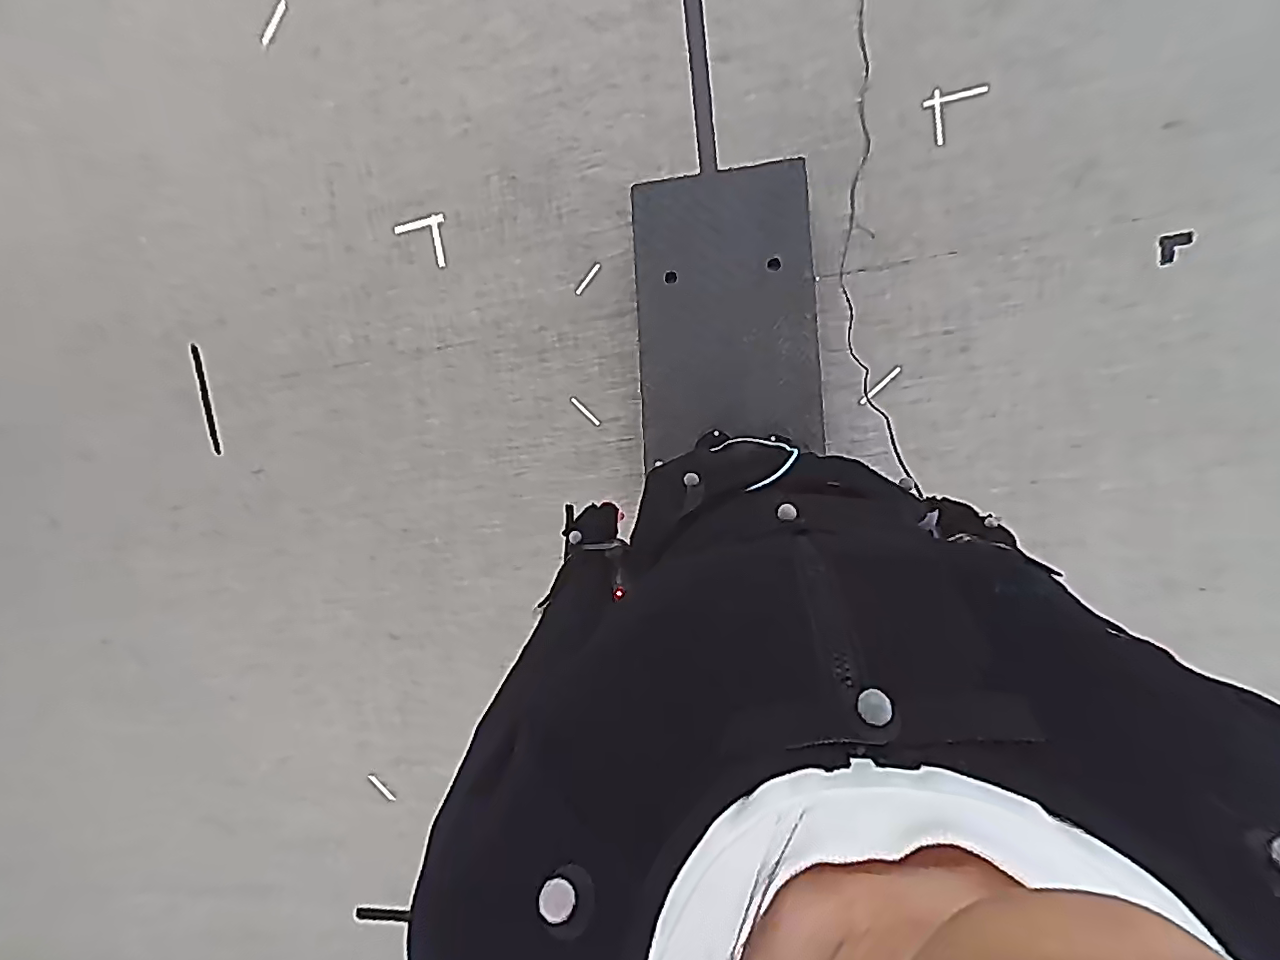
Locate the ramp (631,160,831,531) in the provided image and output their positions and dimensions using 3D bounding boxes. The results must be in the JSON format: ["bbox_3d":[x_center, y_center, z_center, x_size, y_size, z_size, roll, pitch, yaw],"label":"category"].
[{"bbox_3d":[0.233,-0.367,1.494,0.509,0.206,0.991,-5,95,12],"label":"ramp"}]
